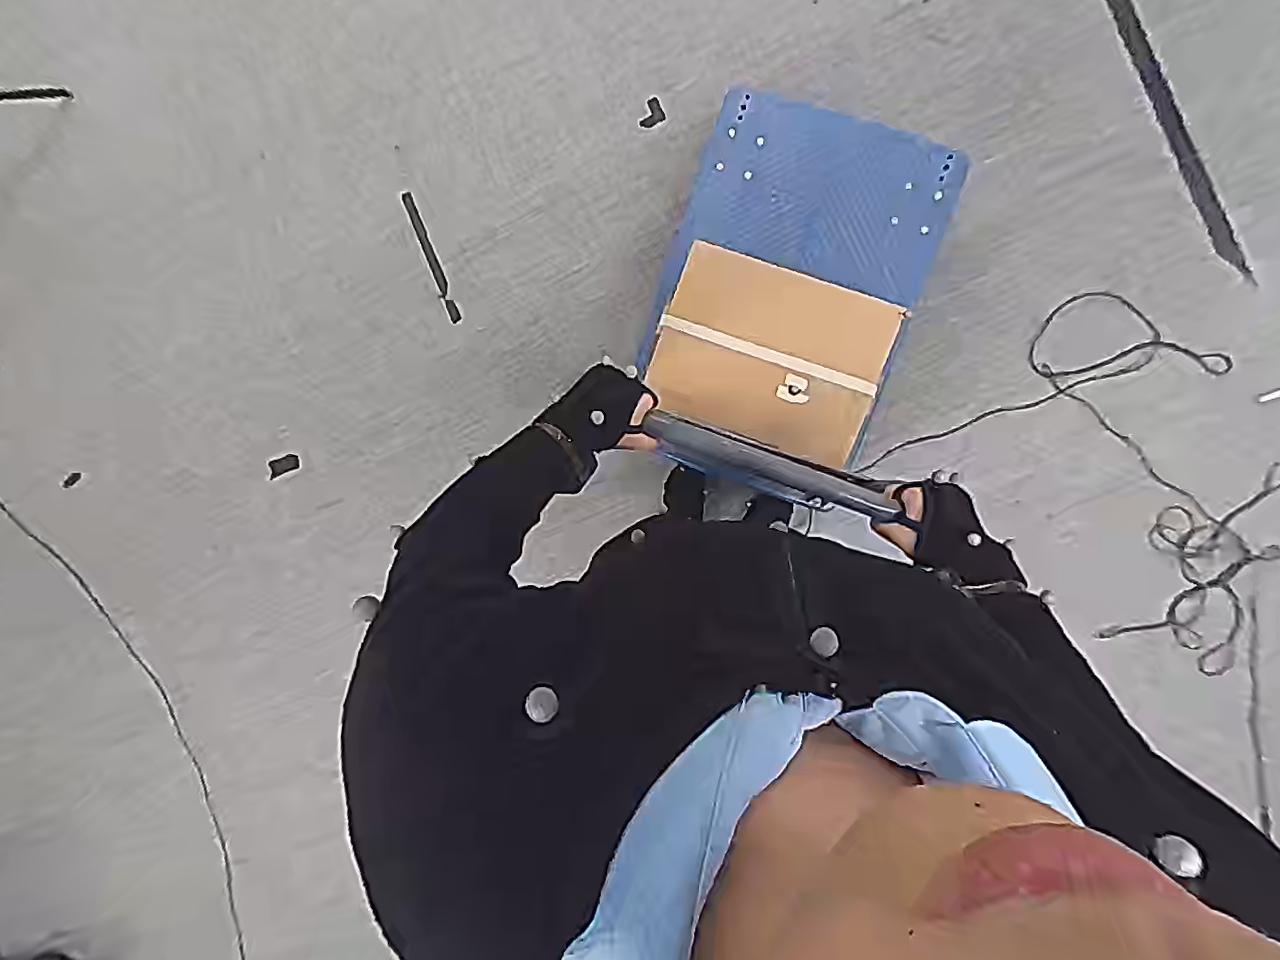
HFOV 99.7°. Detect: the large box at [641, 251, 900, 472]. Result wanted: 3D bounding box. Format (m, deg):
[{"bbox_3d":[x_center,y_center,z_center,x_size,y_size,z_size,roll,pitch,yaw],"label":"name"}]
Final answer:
[{"bbox_3d":[0.247,-0.228,1.147,0.408,0.320,0.320,20,96,4],"label":"large box"}]
